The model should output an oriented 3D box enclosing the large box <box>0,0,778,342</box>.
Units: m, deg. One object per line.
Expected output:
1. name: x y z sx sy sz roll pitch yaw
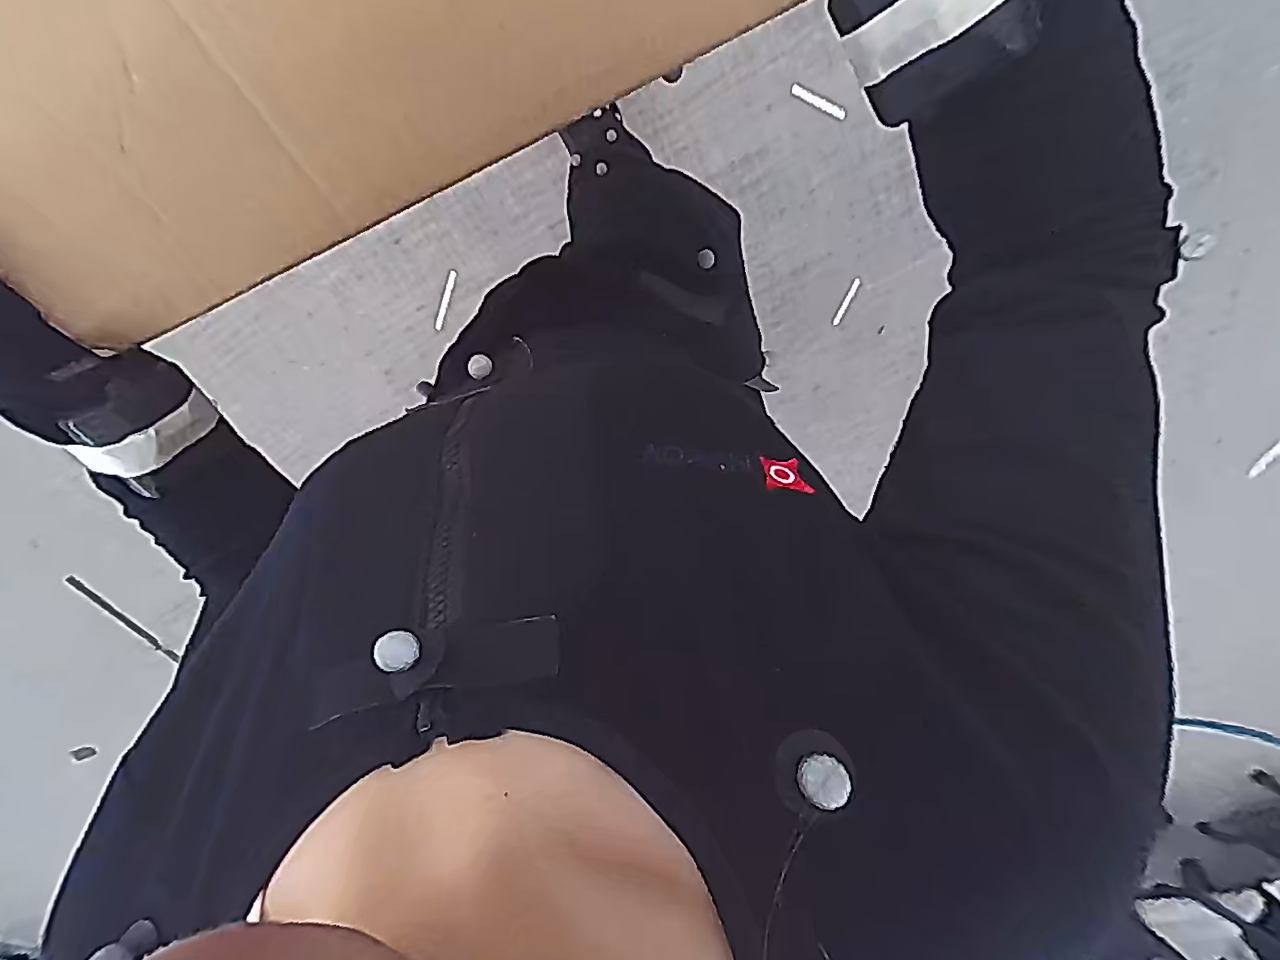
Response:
1. large box: -0.177 -0.342 0.253 0.408 0.320 0.320 -20 136 12
